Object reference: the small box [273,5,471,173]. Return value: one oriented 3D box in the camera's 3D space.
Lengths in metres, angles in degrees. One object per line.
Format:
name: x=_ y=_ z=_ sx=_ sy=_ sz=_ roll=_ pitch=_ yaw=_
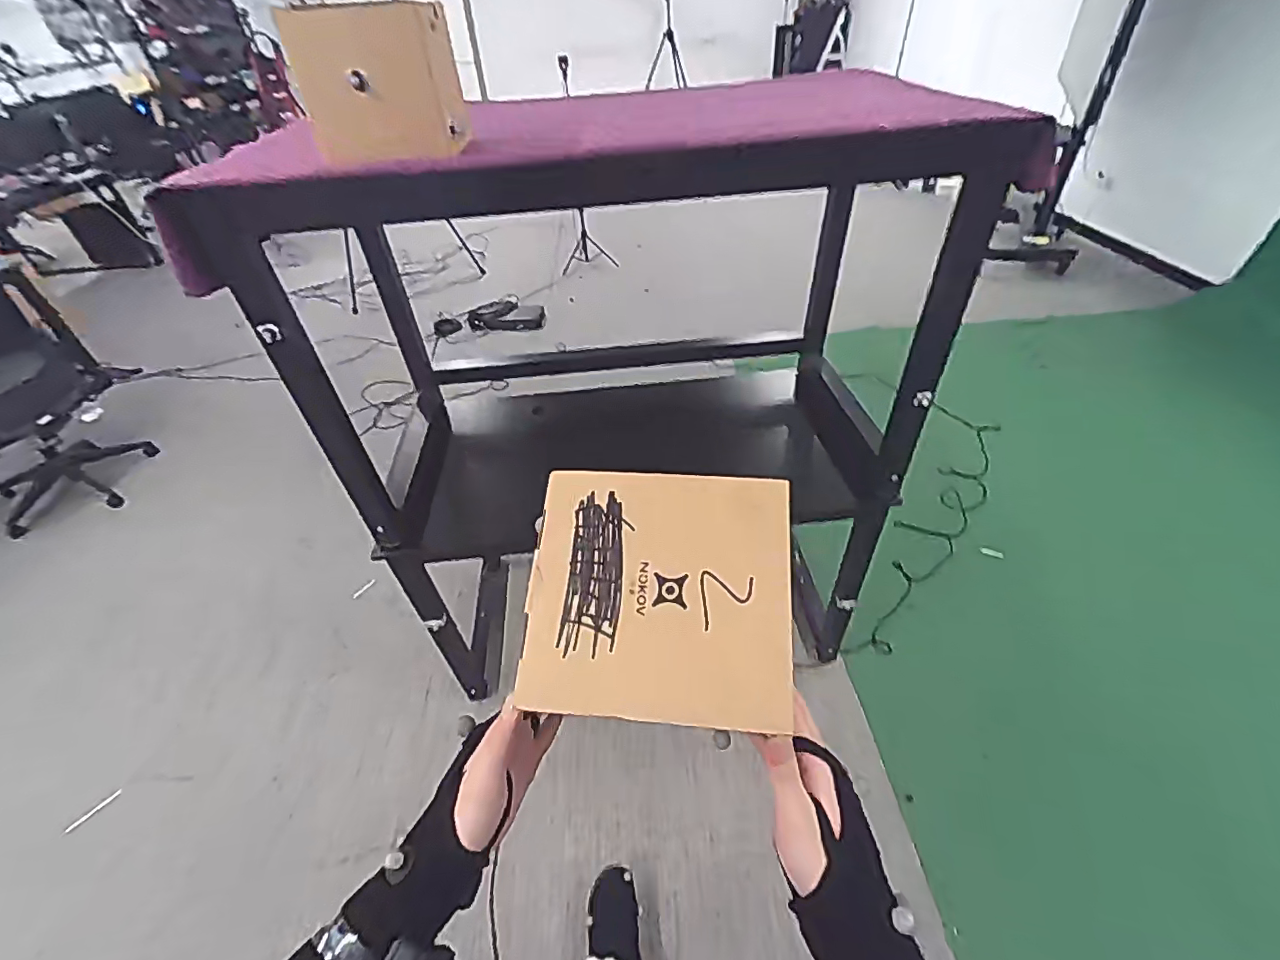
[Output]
small box: x=-0.350 y=-0.543 z=0.753 sx=0.179 sy=0.176 sz=0.168 roll=-5 pitch=41 yaw=0
